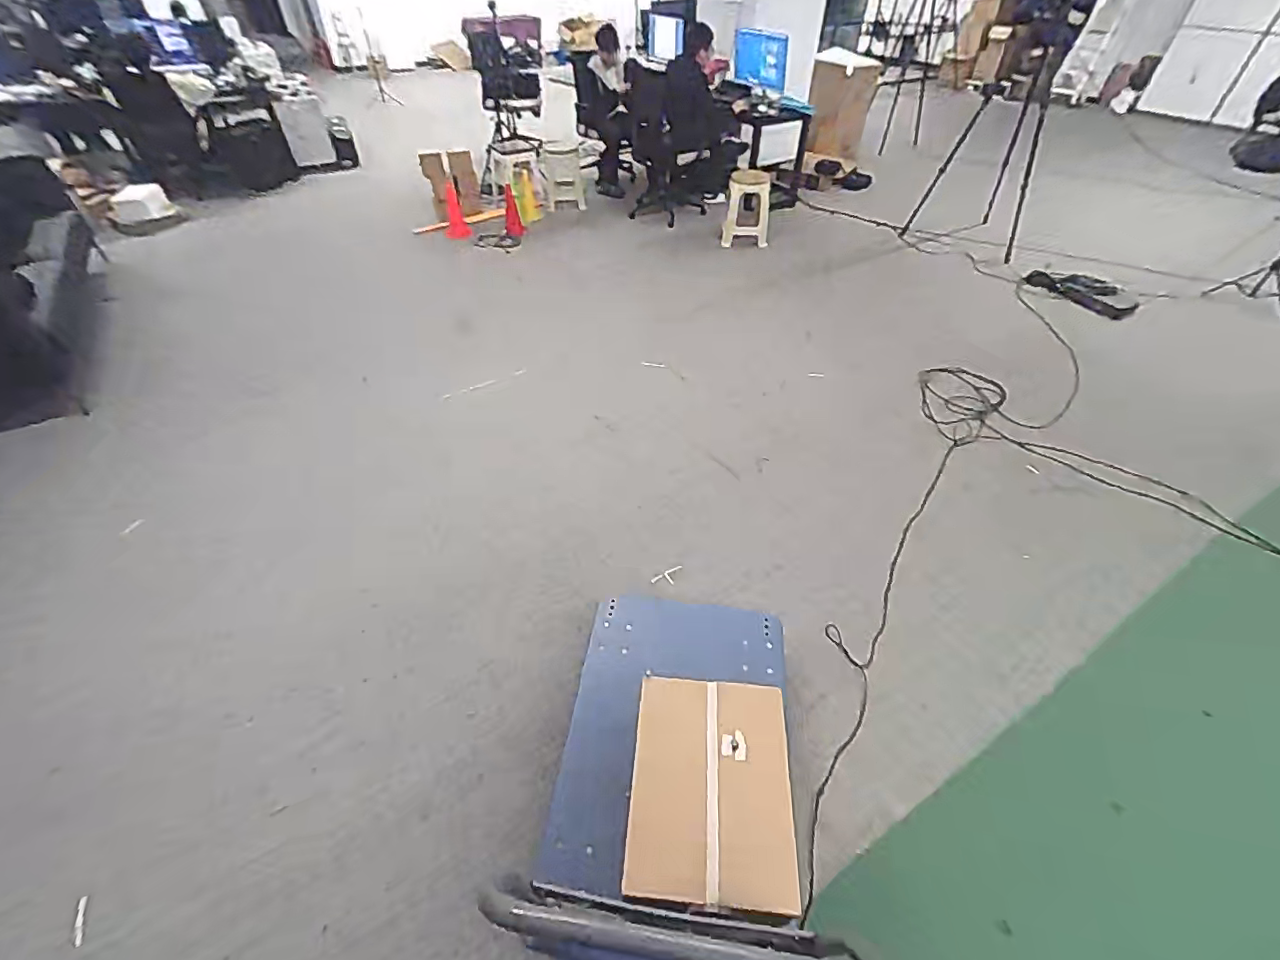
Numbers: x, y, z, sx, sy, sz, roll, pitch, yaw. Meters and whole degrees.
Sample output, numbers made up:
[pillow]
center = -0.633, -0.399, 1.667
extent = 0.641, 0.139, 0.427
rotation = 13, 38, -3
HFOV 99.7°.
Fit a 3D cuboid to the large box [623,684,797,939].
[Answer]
[large box]
center = 0.138, 0.722, 1.191
extent = 0.320, 0.320, 0.408
rotation = 5, 44, 3
